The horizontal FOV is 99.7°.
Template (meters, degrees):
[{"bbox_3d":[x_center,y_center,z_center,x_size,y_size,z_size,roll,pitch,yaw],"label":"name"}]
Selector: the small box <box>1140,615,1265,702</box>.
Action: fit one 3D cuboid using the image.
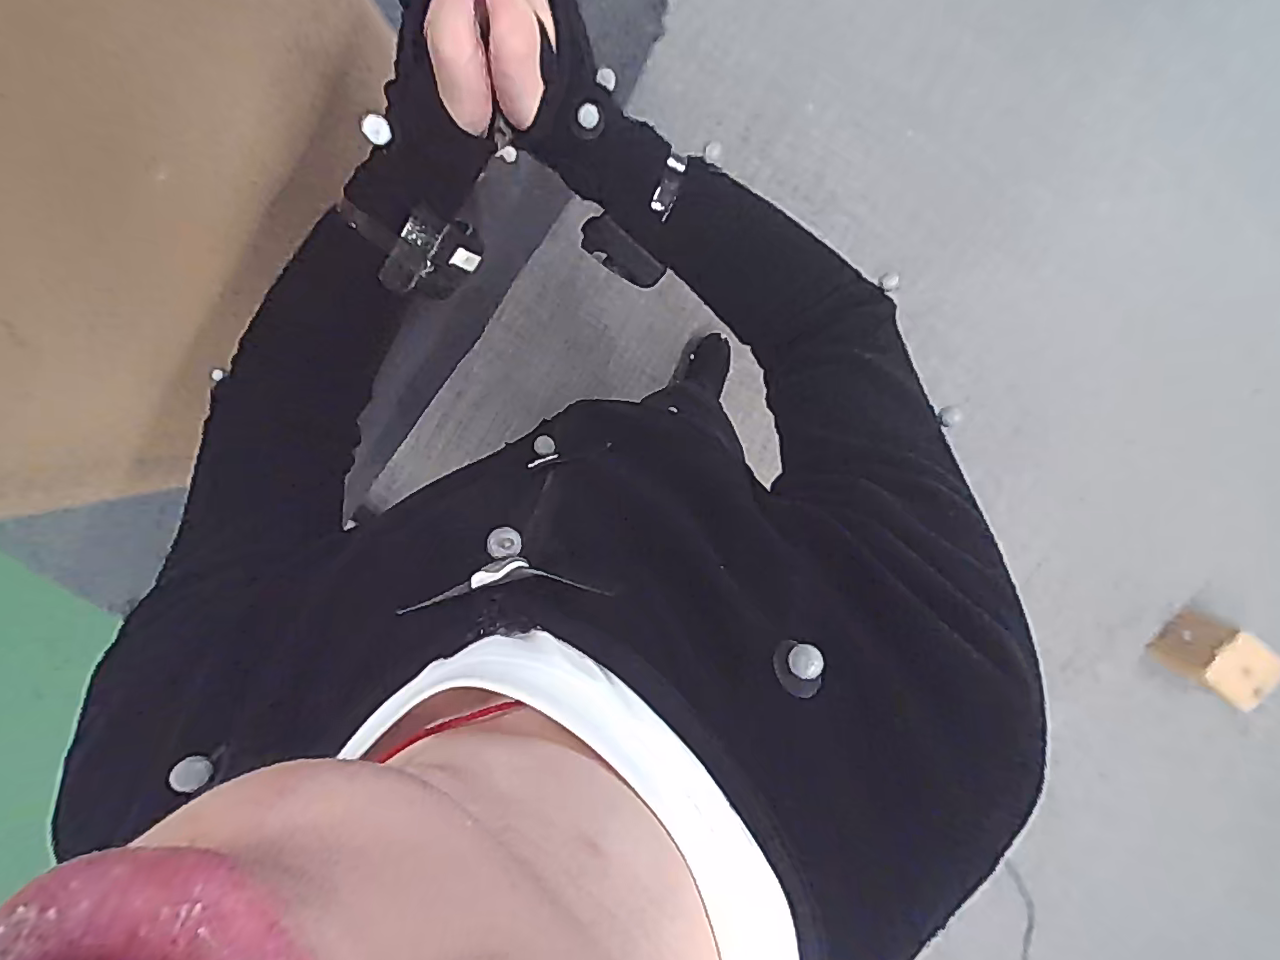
[{"bbox_3d":[1.580,0.498,1.531,0.168,0.176,0.179,9,96,-3],"label":"small box"}]
